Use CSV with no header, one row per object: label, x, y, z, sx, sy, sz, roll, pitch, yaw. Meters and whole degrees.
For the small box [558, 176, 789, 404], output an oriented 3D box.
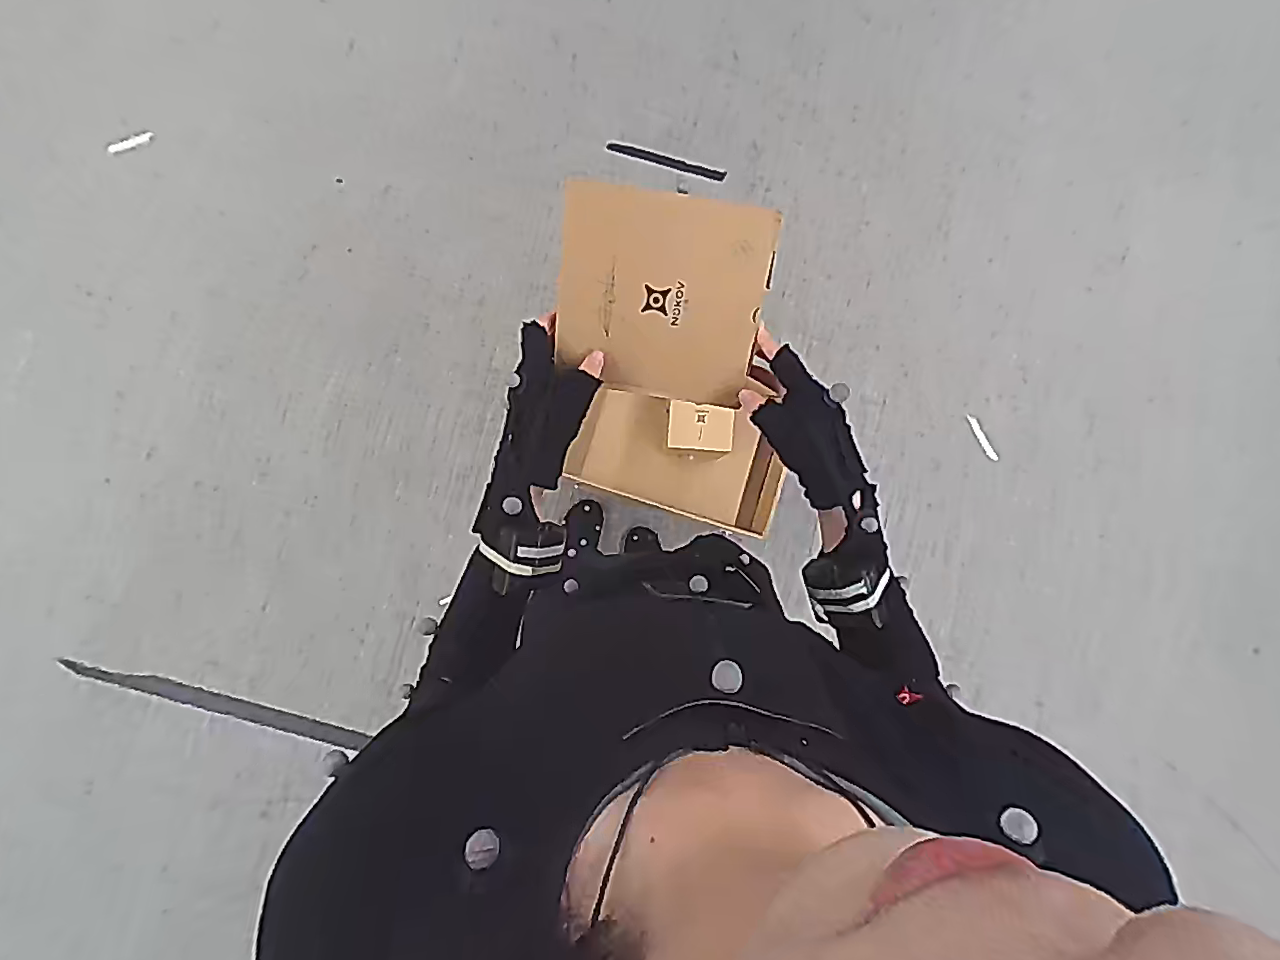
small box,0.026,-0.182,0.527,0.179,0.176,0.168,7,110,1
